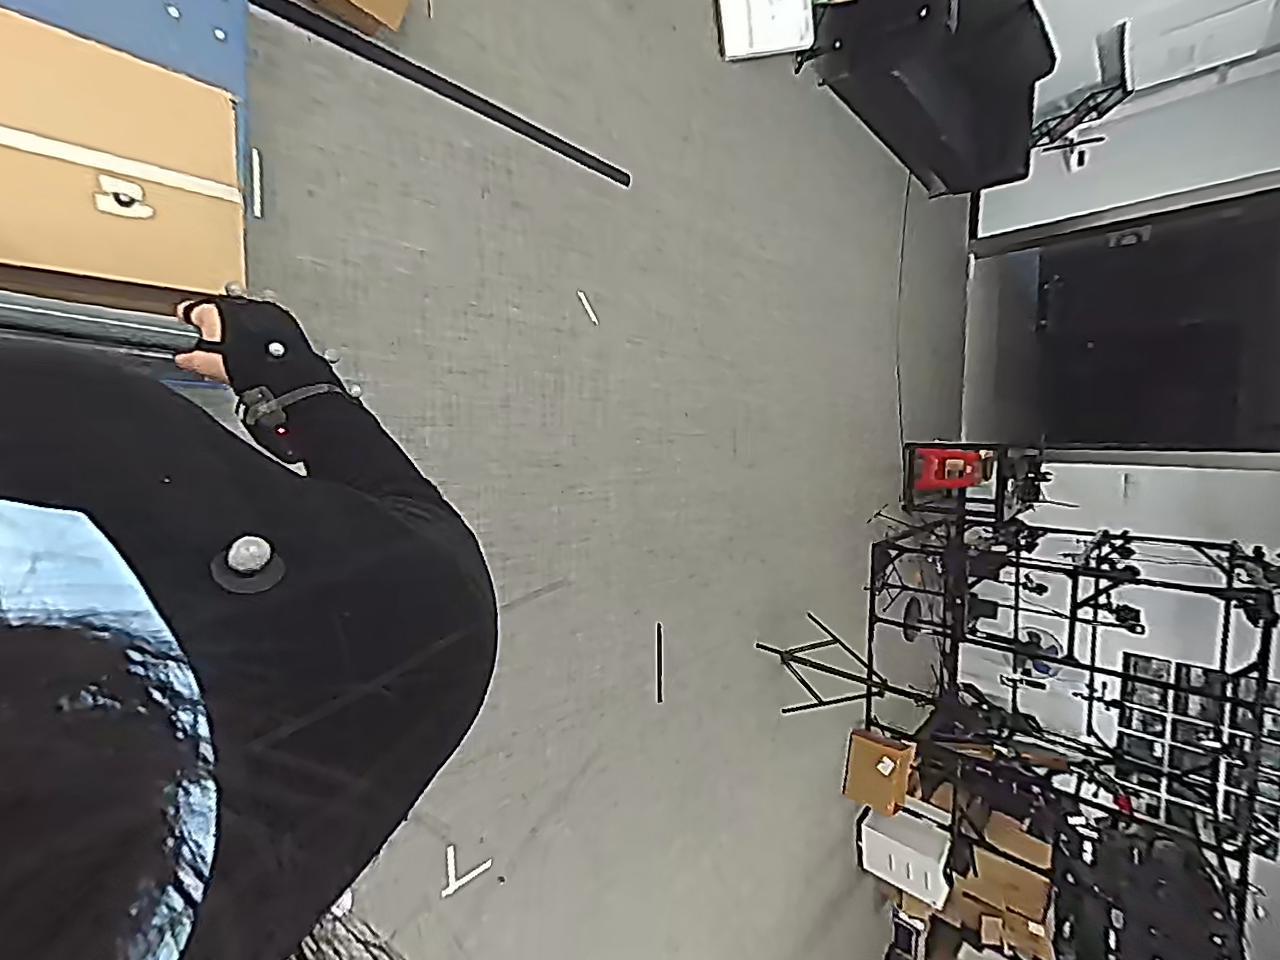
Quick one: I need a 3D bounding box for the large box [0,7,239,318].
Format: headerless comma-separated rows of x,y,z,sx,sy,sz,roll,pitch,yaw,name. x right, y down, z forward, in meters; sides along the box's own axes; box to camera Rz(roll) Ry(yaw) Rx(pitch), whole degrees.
-0.887,-0.444,0.802,0.408,0.320,0.320,-6,98,-48,large box
